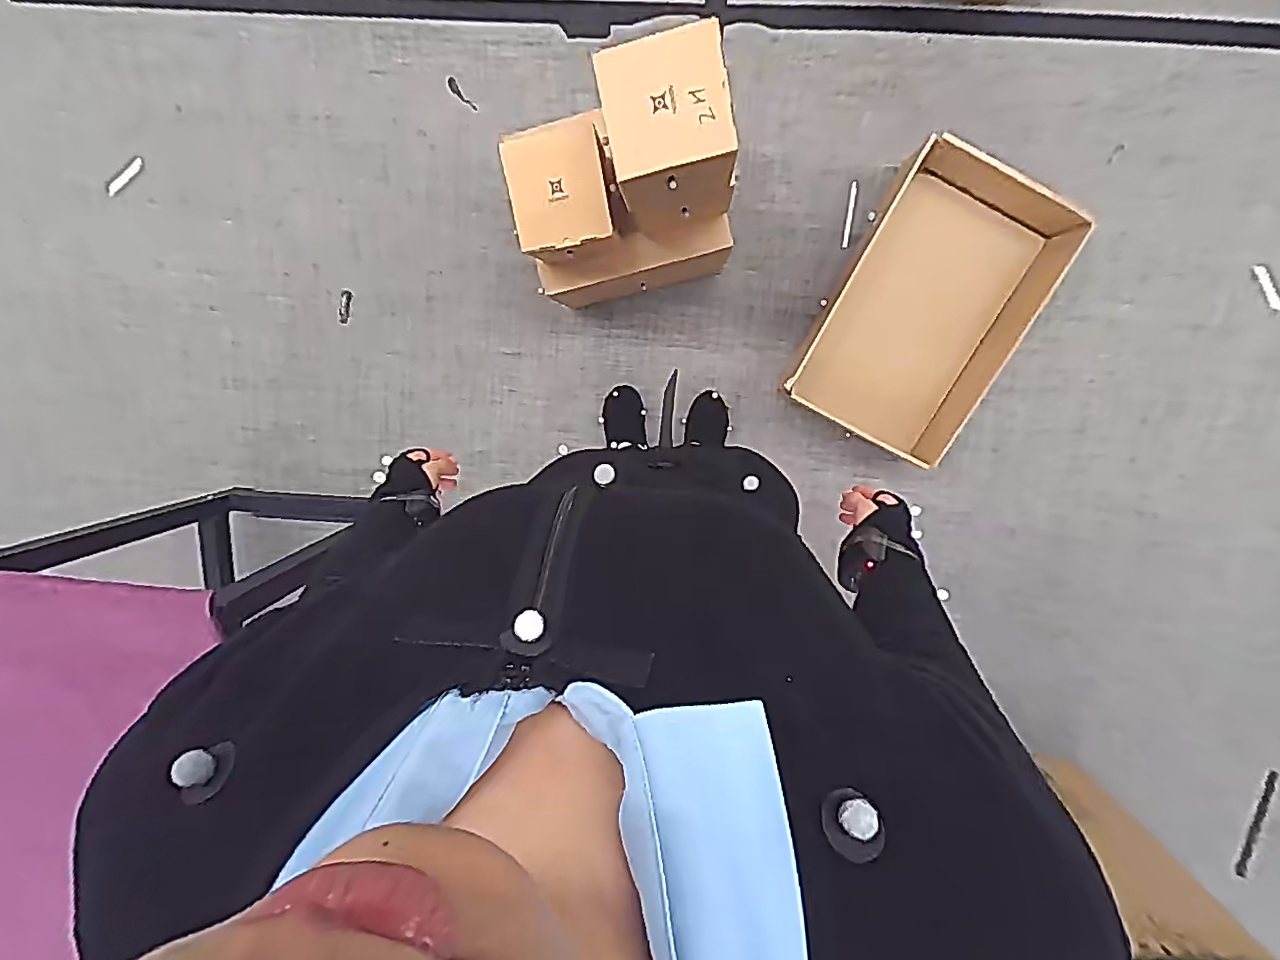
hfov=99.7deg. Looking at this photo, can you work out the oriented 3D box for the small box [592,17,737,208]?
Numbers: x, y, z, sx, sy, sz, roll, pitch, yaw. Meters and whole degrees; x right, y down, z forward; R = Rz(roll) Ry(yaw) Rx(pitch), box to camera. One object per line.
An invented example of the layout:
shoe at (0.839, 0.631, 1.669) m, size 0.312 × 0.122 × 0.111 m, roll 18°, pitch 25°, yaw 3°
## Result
small box at (0.041, -0.530, 0.809) m, size 0.179 × 0.176 × 0.168 m, roll -11°, pitch 102°, yaw 7°
